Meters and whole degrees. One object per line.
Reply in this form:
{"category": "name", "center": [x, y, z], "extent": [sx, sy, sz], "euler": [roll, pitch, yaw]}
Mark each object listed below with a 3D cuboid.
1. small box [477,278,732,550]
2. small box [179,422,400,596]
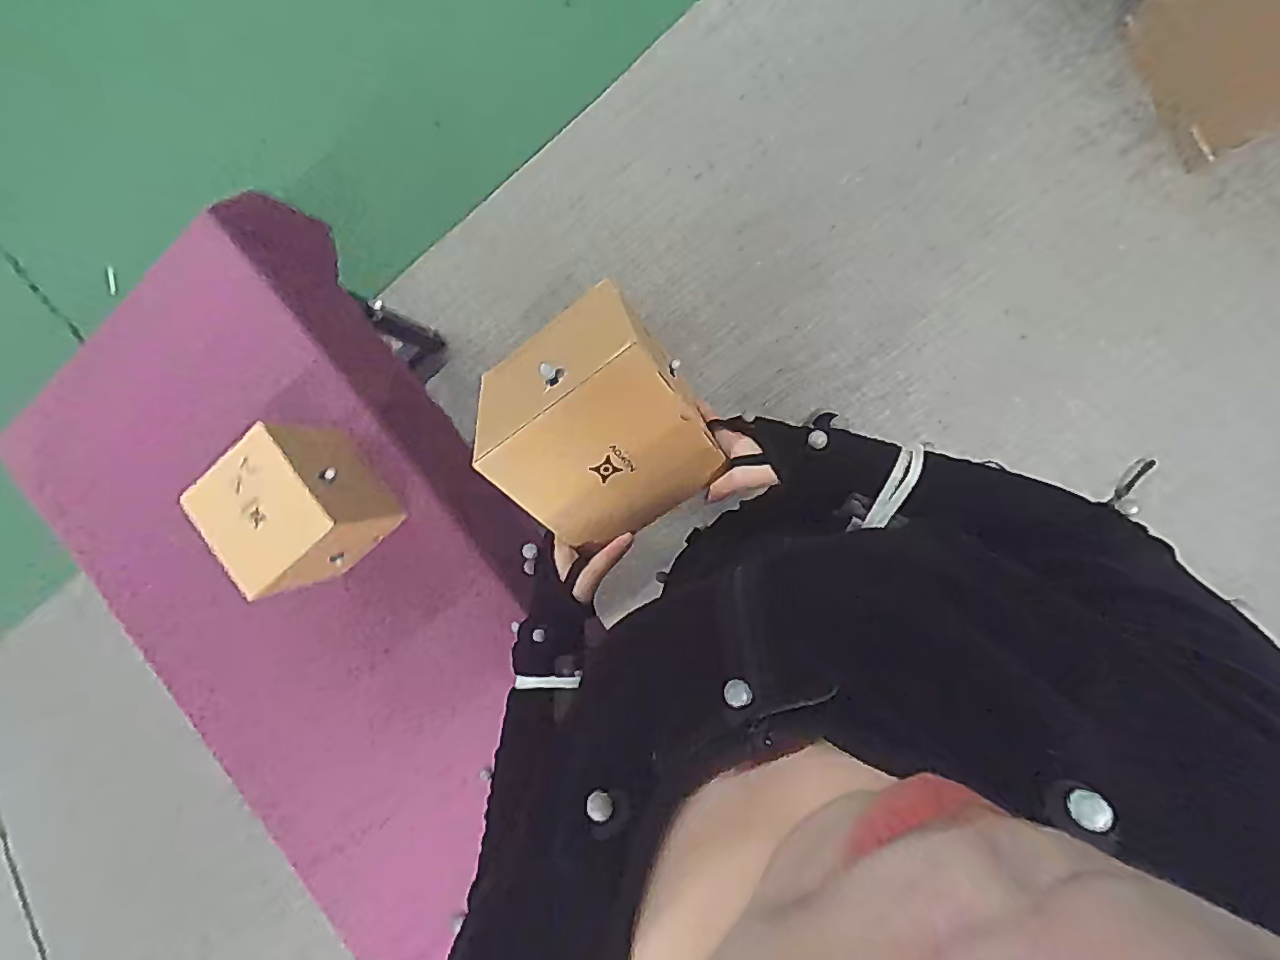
{"category": "small box", "center": [-0.039, -0.069, 0.546], "extent": [0.179, 0.176, 0.168], "euler": [-34, 126, 12]}
{"category": "small box", "center": [-0.492, 0.035, 0.786], "extent": [0.168, 0.176, 0.179], "euler": [-39, 85, 8]}
